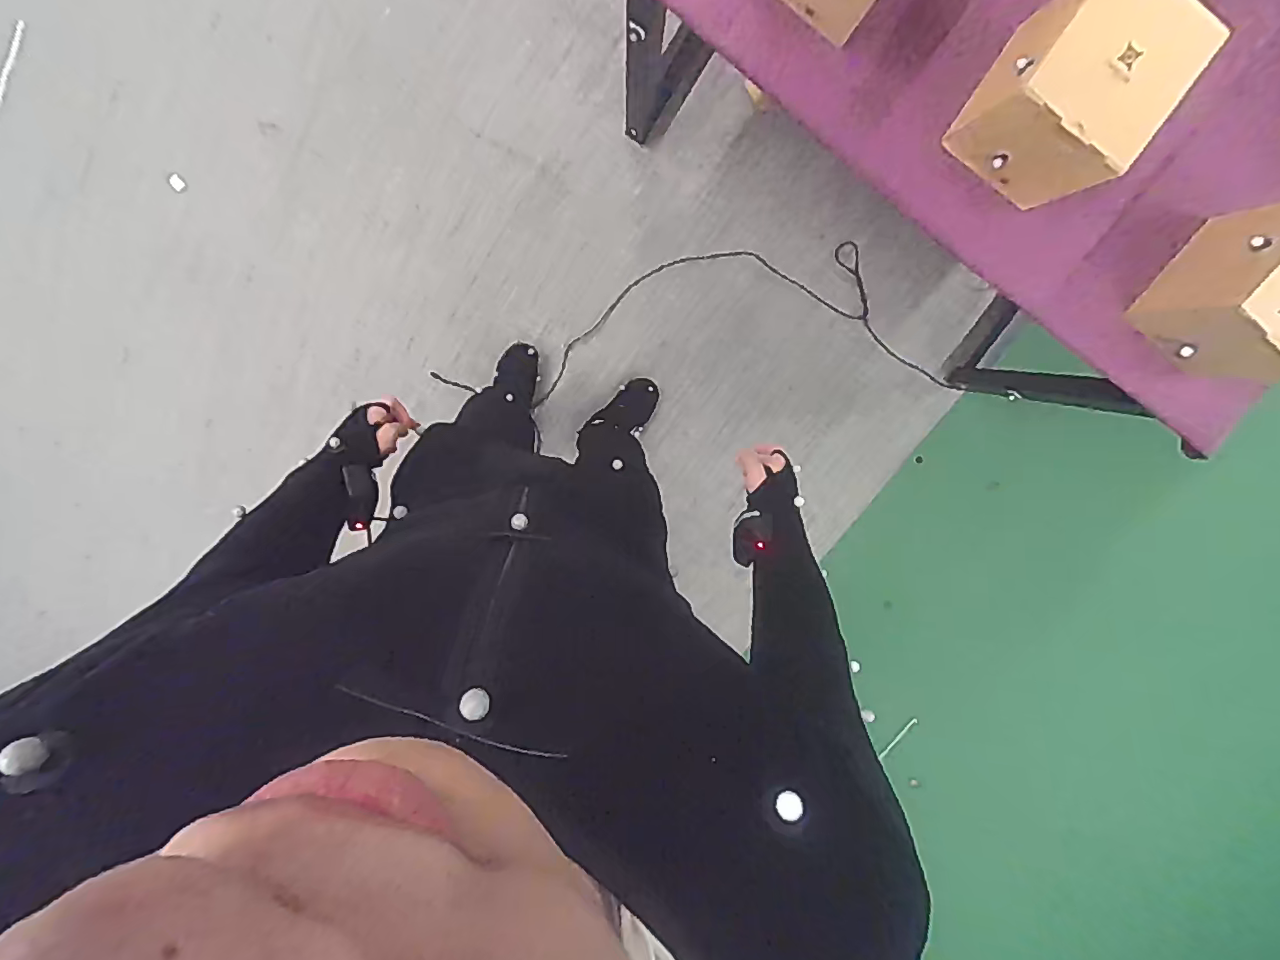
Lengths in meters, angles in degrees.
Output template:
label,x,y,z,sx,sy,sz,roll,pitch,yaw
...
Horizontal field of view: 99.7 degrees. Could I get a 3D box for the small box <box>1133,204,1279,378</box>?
label,x,y,z,sx,sy,sz,roll,pitch,yaw
small box,0.865,-0.263,0.751,0.168,0.176,0.179,36,101,-9

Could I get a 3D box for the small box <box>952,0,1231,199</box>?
label,x,y,z,sx,sy,sz,roll,pitch,yaw
small box,0.547,-0.497,0.685,0.168,0.176,0.179,31,101,-9
